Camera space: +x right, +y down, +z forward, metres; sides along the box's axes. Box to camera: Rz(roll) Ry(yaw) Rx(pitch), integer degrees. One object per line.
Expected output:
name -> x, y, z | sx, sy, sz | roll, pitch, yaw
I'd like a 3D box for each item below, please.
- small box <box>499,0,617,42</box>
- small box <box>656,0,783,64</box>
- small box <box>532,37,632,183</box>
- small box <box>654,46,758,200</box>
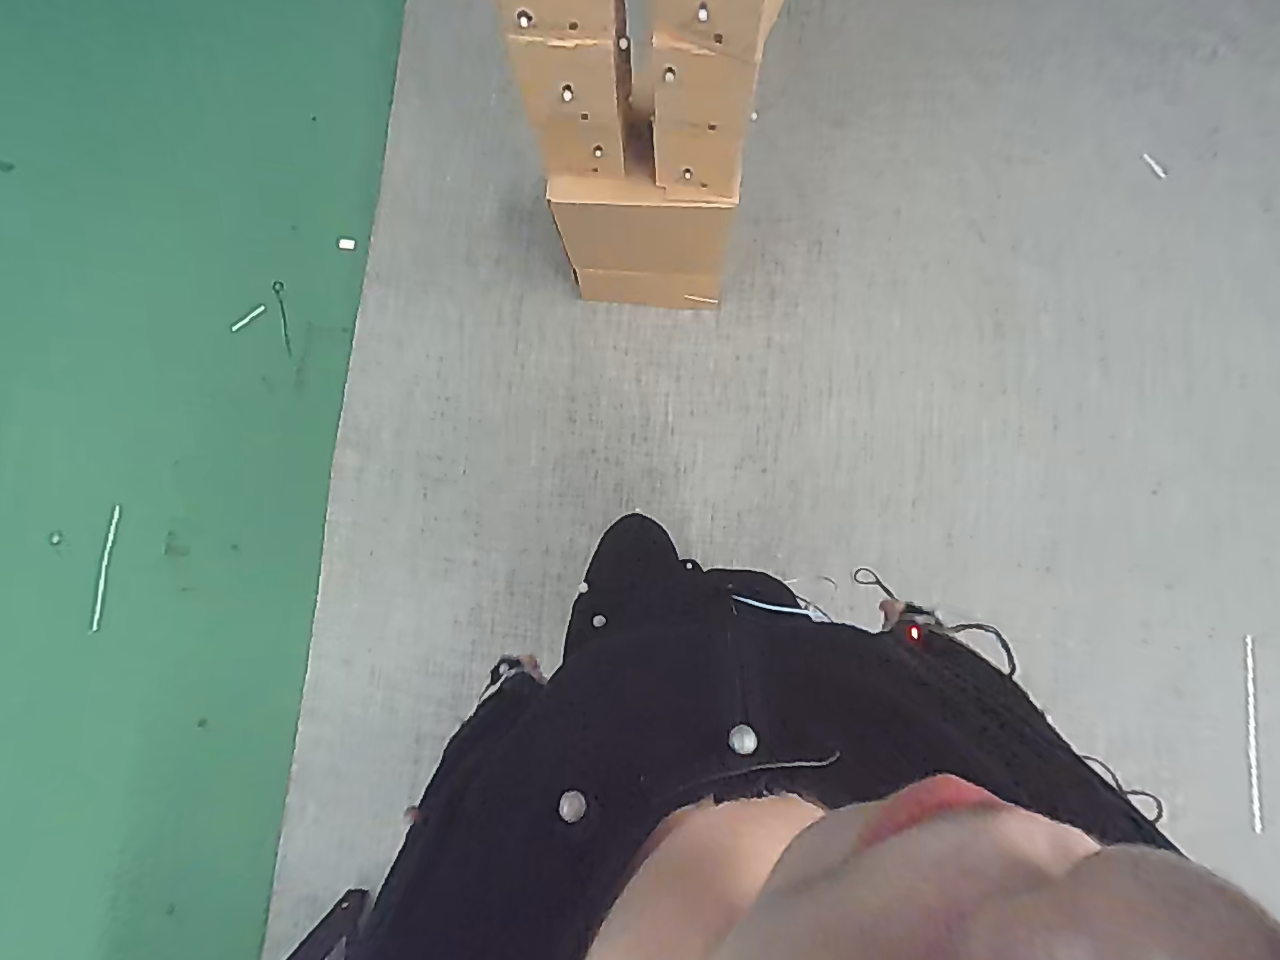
small box -> -0.117, -0.760, 0.754 | 0.168, 0.176, 0.179 | 4, 83, 1
small box -> 0.122, -0.731, 0.735 | 0.168, 0.176, 0.179 | 23, 85, 6
small box -> -0.107, -0.729, 1.081 | 0.168, 0.176, 0.179 | 6, 84, 2
small box -> 0.124, -0.692, 1.062 | 0.168, 0.176, 0.179 | 11, 84, 5
